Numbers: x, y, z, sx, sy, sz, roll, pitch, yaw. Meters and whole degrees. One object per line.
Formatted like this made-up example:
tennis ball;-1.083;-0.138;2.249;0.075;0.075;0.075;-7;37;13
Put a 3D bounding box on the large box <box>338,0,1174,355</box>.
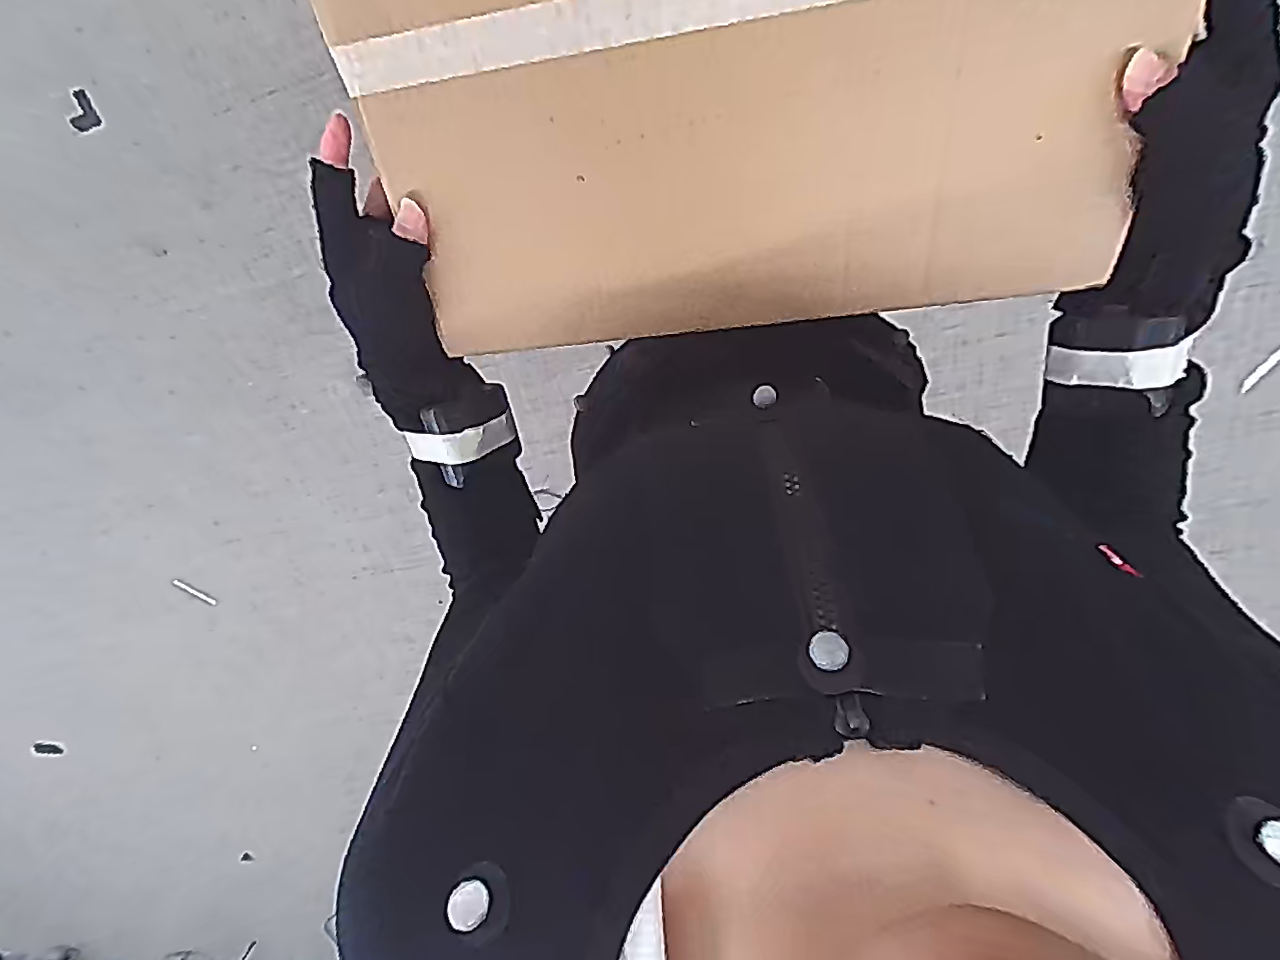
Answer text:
large box;0.057;-0.311;0.387;0.408;0.320;0.320;-4;125;8
